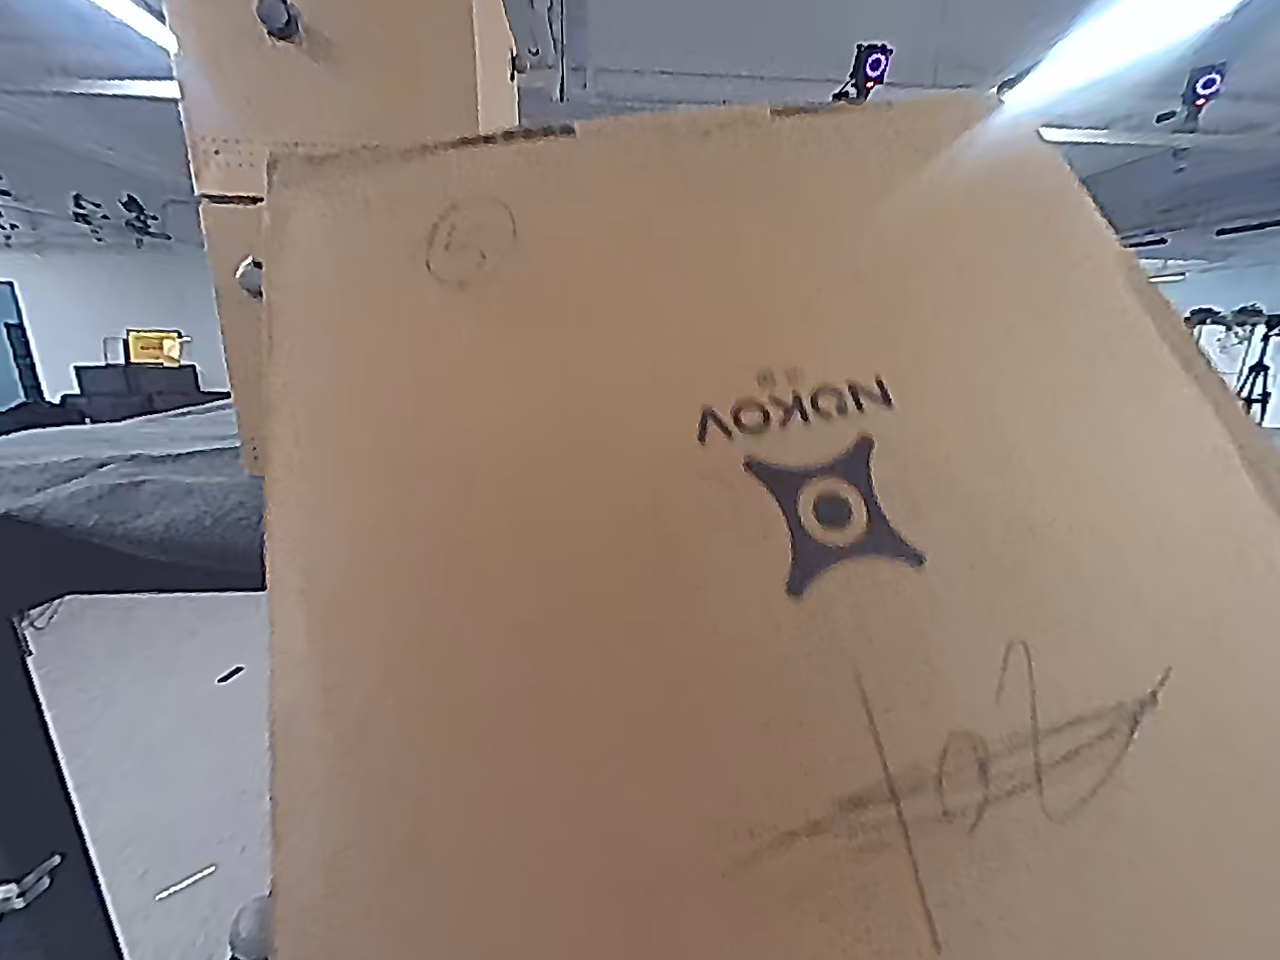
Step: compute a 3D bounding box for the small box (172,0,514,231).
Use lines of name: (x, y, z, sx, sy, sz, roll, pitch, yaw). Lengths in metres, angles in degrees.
small box: (-0.181, -0.261, 0.382, 0.168, 0.176, 0.179, 0, 13, -4)

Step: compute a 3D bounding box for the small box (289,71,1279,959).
small box: (0.024, 0.025, 0.163, 0.168, 0.179, 0.176, -12, -19, -9)
